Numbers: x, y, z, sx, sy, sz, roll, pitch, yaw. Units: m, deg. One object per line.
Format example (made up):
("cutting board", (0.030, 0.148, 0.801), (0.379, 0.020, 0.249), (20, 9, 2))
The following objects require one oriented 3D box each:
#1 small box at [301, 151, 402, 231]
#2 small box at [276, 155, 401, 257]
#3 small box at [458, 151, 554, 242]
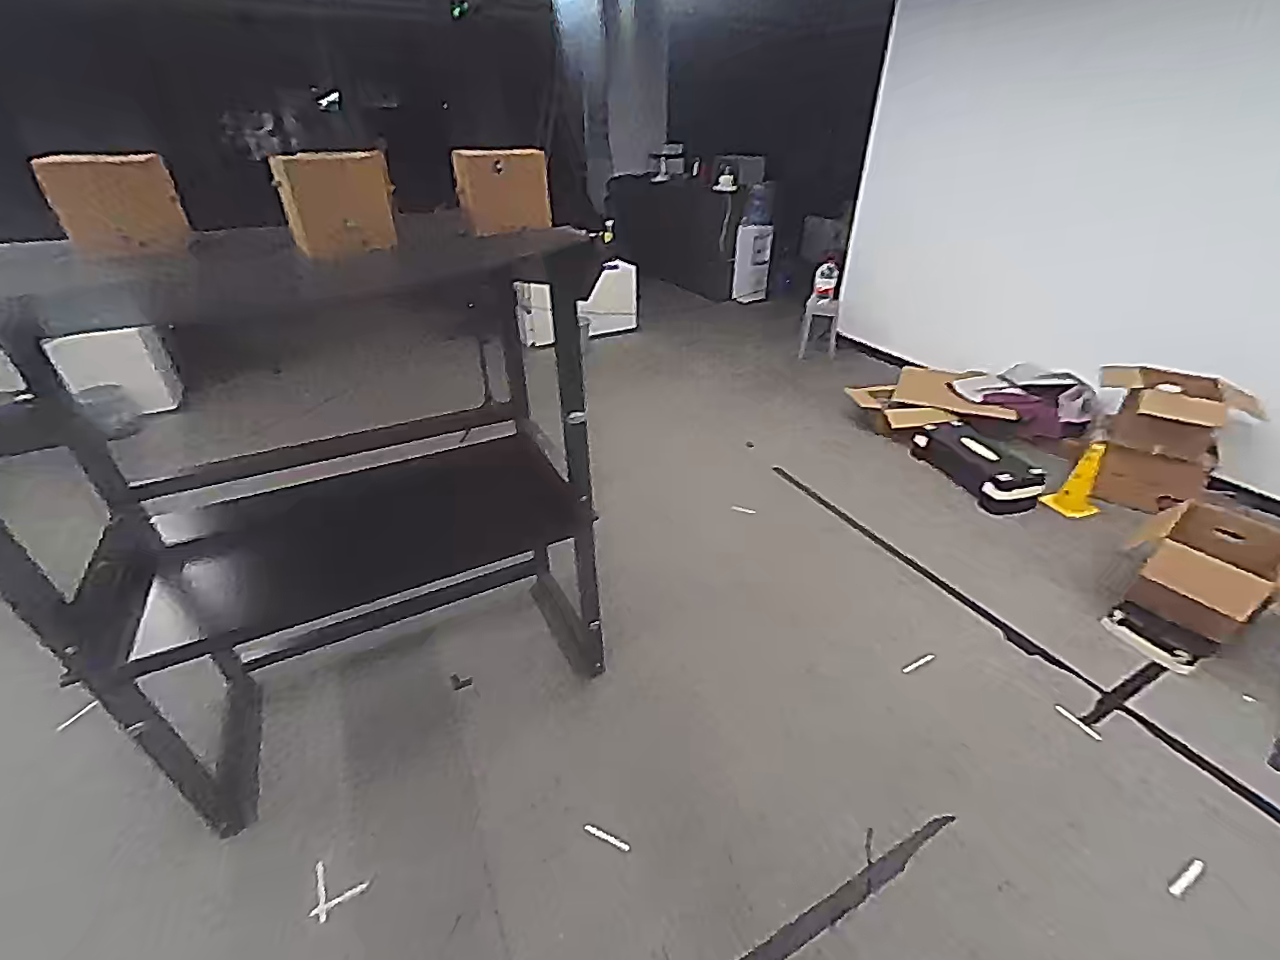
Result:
("small box", (-0.669, -0.670, 1.269), (0.179, 0.176, 0.168), (-15, 35, -22))
("small box", (-0.606, -0.556, 1.092), (0.168, 0.176, 0.179), (-22, 39, -29))
("small box", (-0.298, -0.632, 1.204), (0.168, 0.176, 0.179), (-15, 35, -19))
